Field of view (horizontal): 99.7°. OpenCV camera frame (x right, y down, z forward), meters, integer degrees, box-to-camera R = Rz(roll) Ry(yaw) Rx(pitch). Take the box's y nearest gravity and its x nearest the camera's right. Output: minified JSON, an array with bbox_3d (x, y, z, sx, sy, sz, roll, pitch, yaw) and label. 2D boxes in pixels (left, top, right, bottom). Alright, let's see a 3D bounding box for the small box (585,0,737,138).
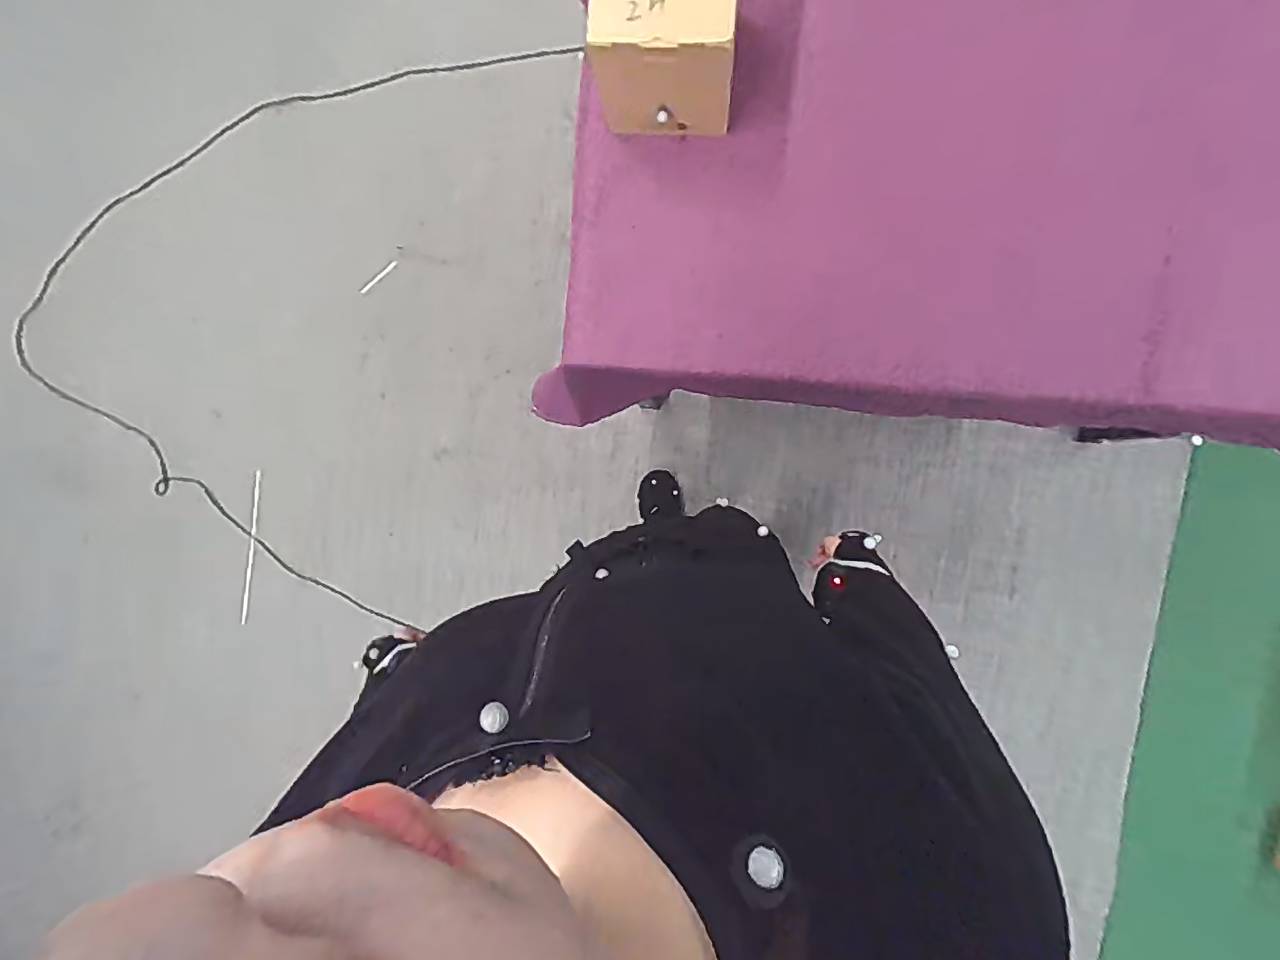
[{"bbox_3d":[0.035,-0.571,0.679,0.168,0.176,0.179,6,92,7],"label":"small box"}]
